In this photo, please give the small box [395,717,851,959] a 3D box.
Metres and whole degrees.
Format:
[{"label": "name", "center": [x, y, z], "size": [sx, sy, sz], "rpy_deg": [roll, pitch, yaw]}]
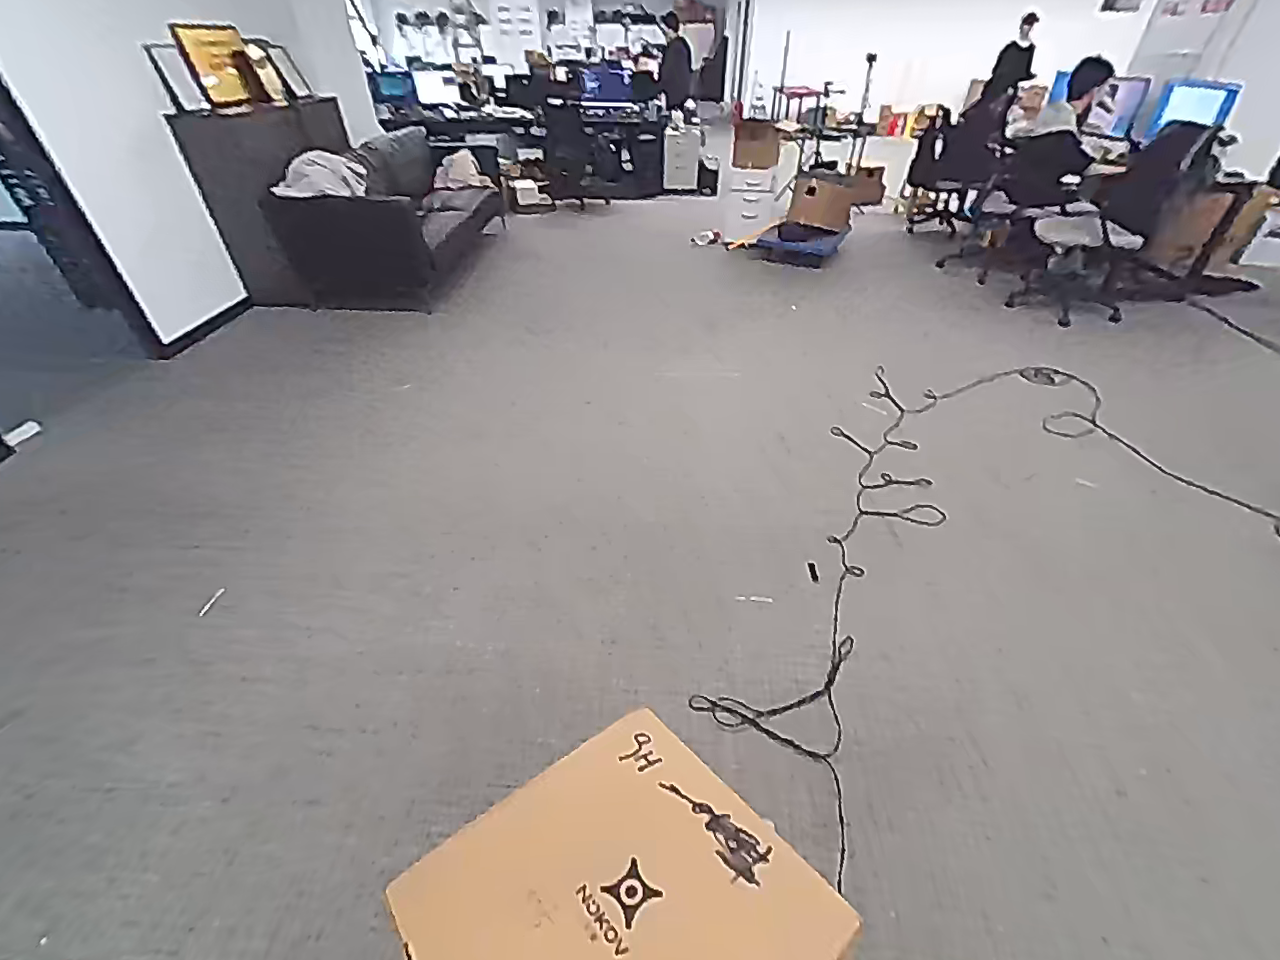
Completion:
[{"label": "small box", "center": [-0.008, 0.289, 0.309], "size": [0.179, 0.176, 0.168], "rpy_deg": [-22, 34, -35]}]
